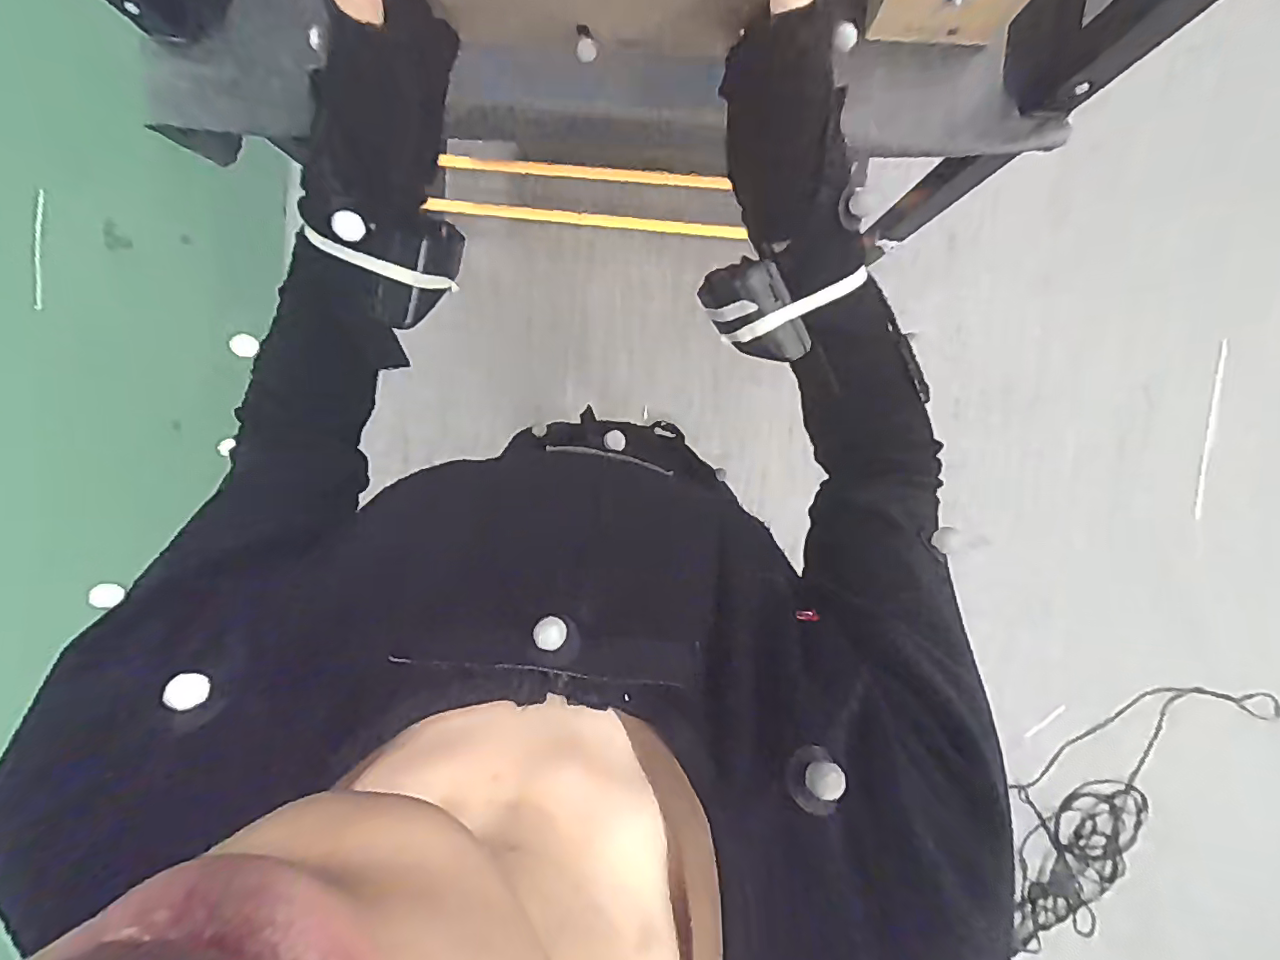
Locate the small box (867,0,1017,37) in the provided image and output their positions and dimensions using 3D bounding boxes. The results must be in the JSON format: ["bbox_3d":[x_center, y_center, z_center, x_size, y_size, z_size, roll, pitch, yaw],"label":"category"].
[{"bbox_3d":[0.375,-0.650,0.612,0.168,0.176,0.179,3,94,0],"label":"small box"}]
